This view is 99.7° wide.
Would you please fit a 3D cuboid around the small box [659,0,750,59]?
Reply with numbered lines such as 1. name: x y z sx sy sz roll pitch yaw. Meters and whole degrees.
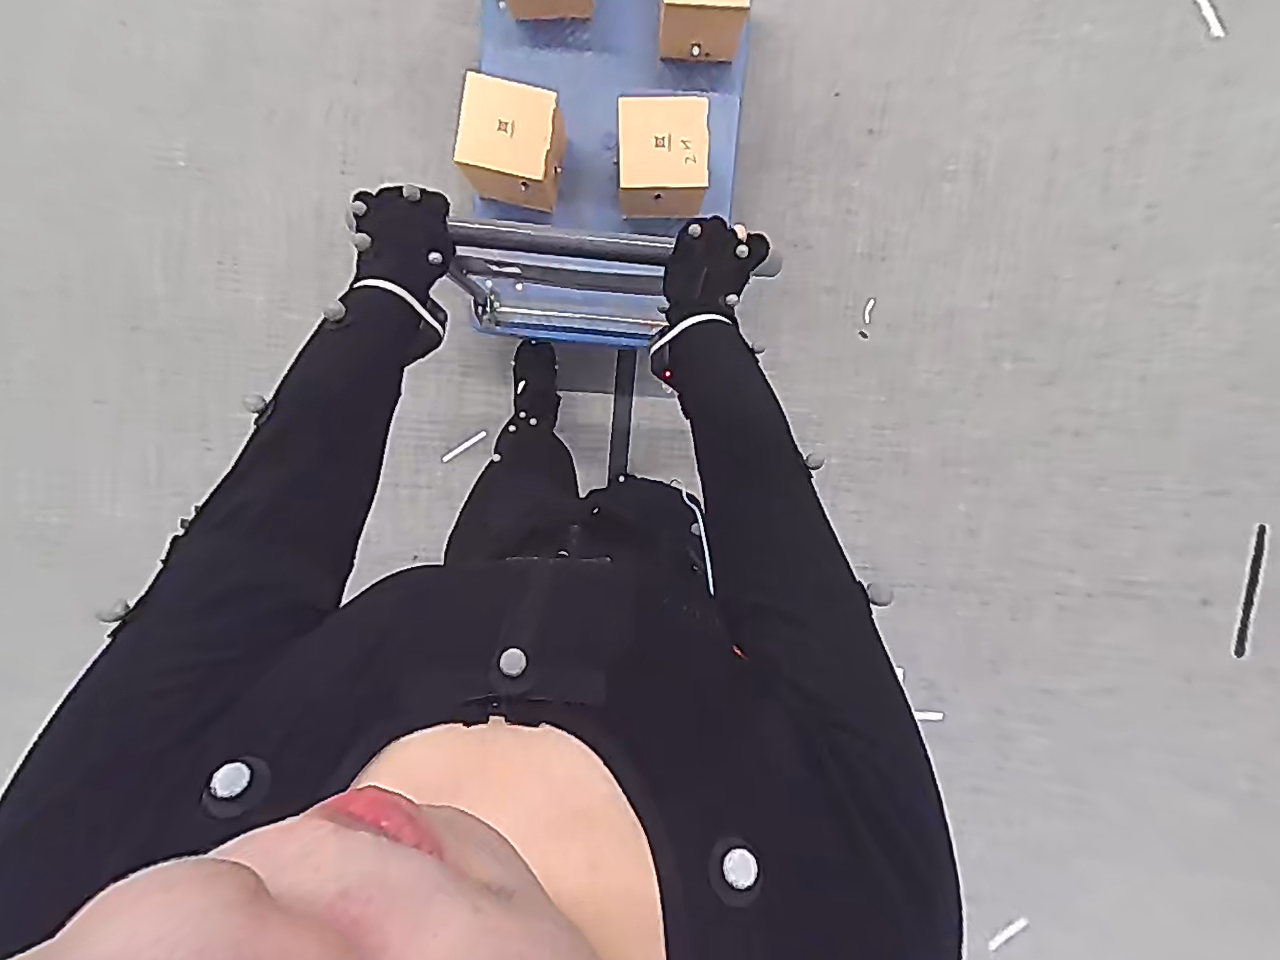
1. small box: 0.126 -0.988 1.074 0.168 0.176 0.179 2 98 -1

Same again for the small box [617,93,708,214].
1. small box: 0.043 -0.662 1.115 0.179 0.176 0.168 -1 98 -1

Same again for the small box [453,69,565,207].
1. small box: -0.260 -0.686 1.105 0.179 0.176 0.168 11 96 -4
